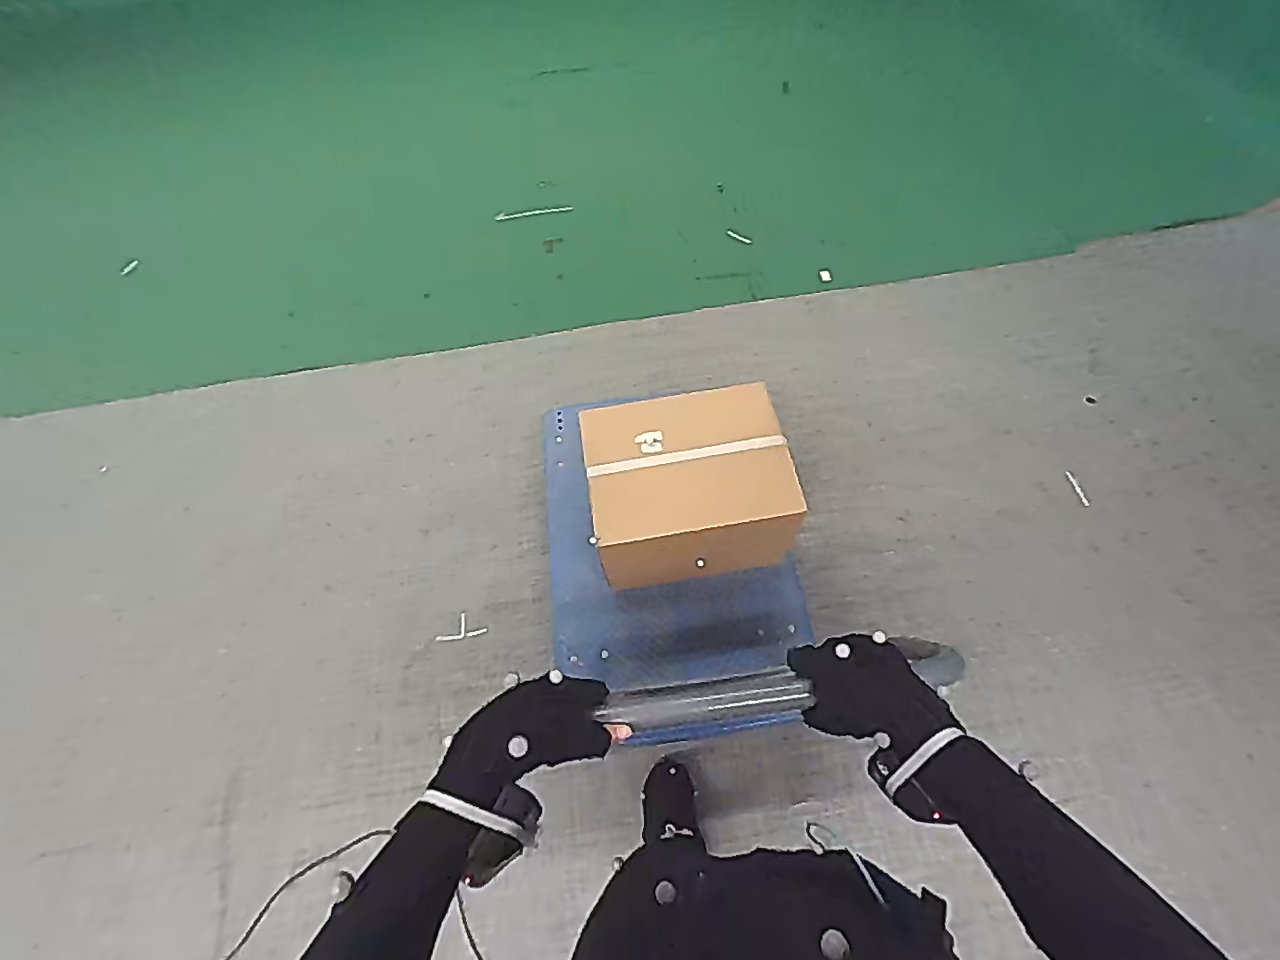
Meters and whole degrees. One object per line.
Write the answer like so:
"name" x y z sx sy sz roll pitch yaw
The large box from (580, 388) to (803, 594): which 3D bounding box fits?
"large box" 0.105 0.038 1.230 0.408 0.320 0.320 -11 62 -1
